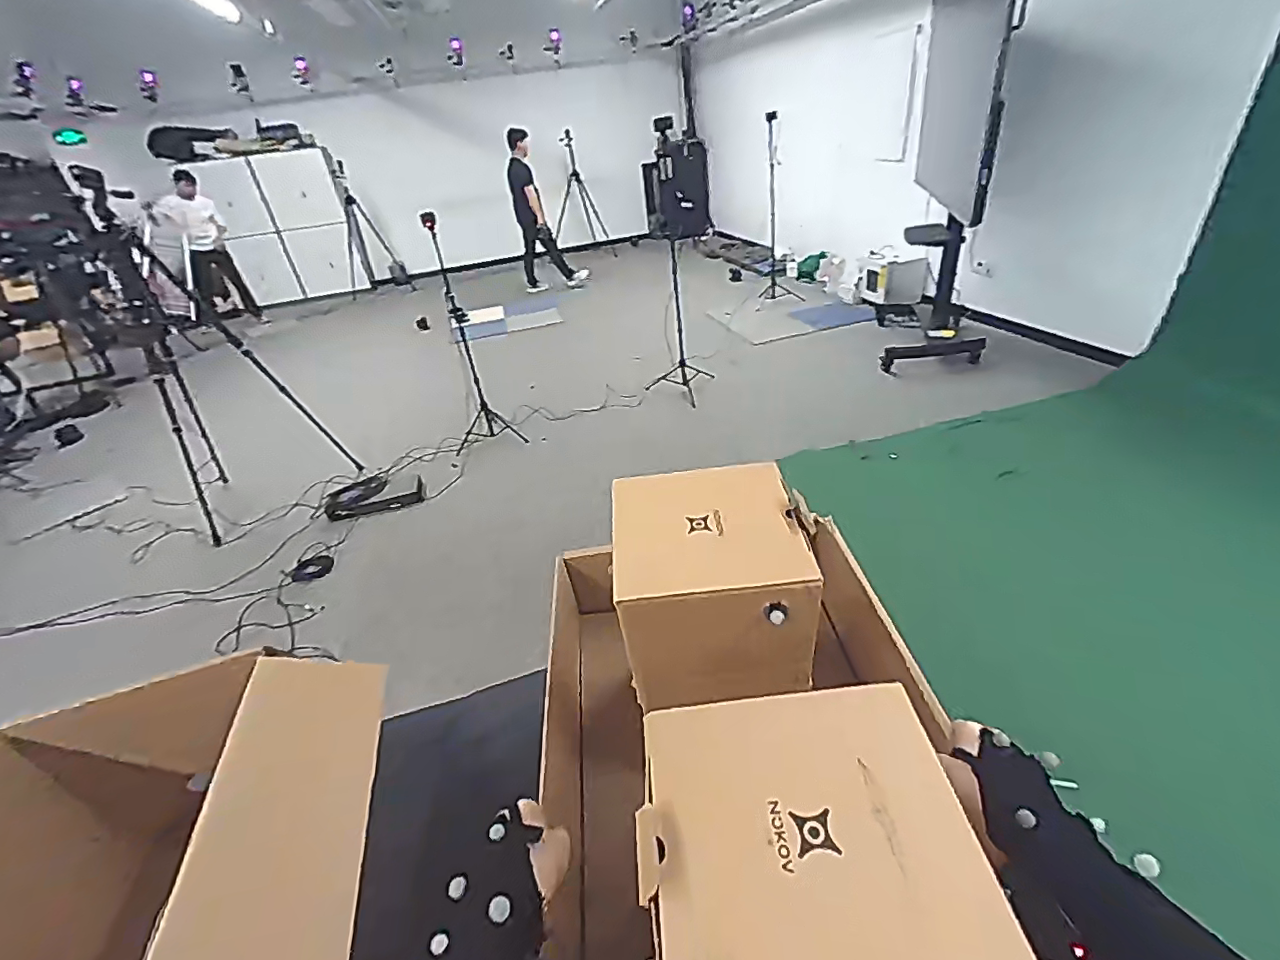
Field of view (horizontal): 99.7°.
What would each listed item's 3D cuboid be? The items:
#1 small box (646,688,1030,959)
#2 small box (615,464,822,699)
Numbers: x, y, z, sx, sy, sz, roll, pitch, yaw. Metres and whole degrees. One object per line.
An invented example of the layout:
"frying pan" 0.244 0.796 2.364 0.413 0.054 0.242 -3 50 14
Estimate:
"small box" 0.103 0.262 0.349 0.179 0.176 0.168 -7 38 1
"small box" 0.072 0.106 0.556 0.179 0.176 0.168 -6 39 2
